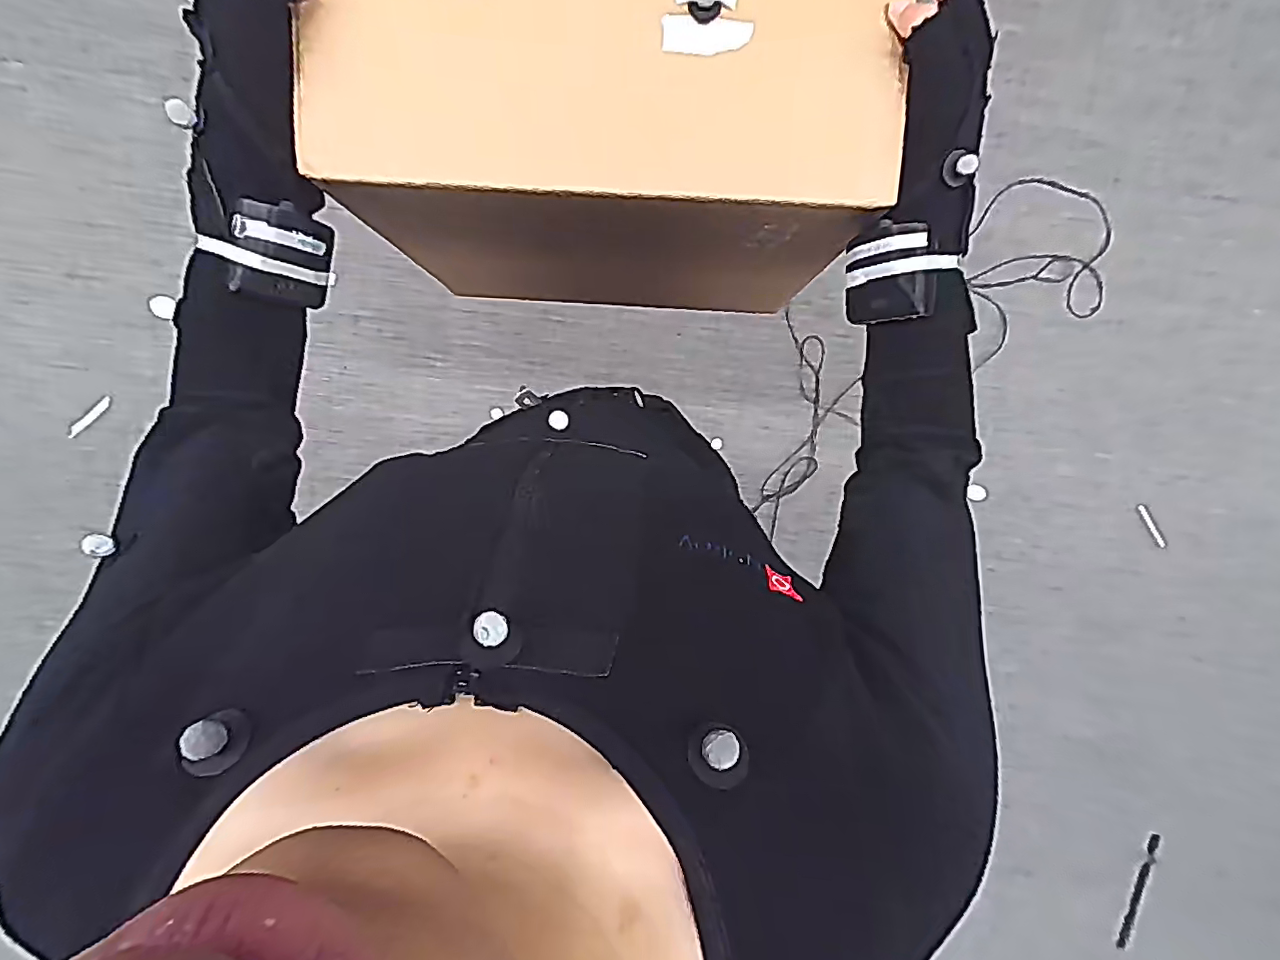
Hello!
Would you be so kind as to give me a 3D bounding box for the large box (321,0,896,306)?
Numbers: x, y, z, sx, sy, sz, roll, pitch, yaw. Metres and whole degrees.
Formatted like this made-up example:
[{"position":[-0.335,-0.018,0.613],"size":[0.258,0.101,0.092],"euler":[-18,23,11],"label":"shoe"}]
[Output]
[{"position":[-0.022,-0.365,0.520],"size":[0.408,0.320,0.320],"euler":[2,94,-1],"label":"large box"}]
